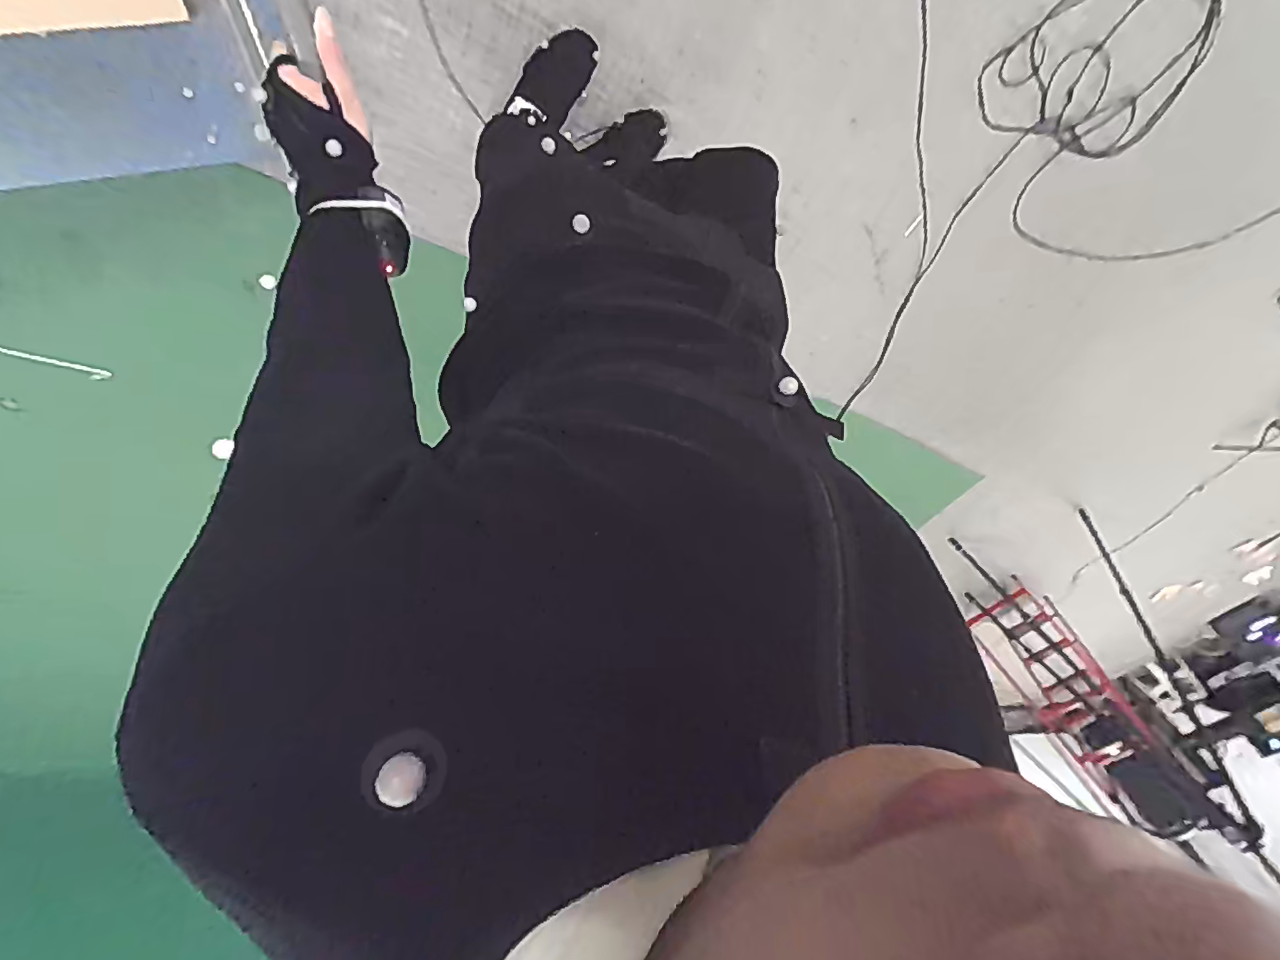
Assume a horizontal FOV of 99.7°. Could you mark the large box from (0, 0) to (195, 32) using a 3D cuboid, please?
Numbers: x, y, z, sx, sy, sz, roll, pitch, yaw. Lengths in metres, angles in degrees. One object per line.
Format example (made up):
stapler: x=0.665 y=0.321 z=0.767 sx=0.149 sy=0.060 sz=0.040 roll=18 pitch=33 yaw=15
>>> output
large box: x=-0.805 y=-0.722 z=0.606 sx=0.408 sy=0.320 sz=0.320 roll=-20 pitch=138 yaw=-16
